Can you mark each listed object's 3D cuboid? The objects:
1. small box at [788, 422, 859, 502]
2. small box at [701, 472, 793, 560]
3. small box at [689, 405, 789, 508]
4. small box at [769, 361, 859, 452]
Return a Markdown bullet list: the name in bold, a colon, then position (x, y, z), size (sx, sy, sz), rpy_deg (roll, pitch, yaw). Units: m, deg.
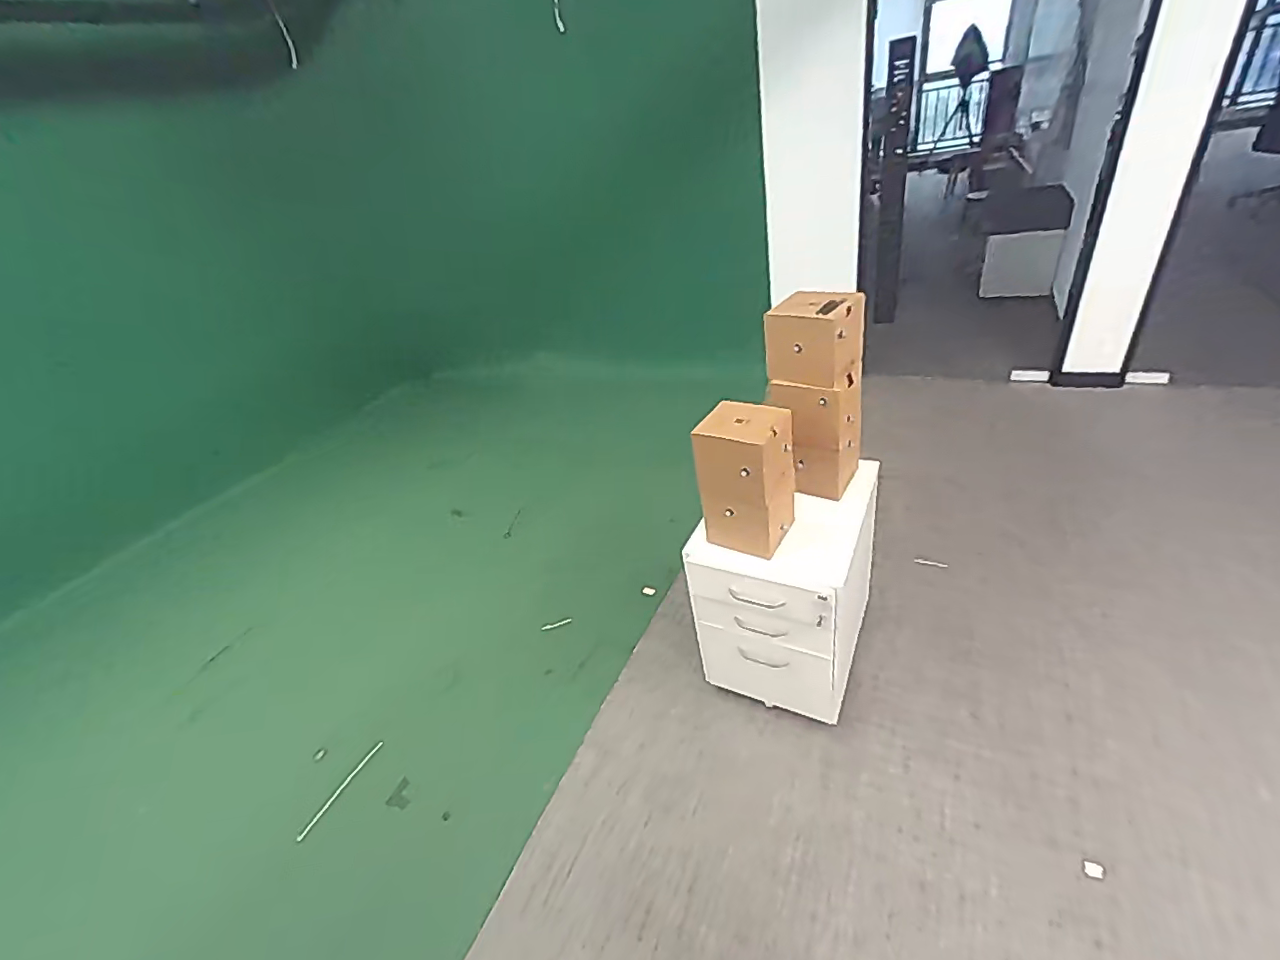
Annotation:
- **small box**: position (0.484, -0.060, 1.482), size (0.179, 0.176, 0.168), rpy_deg (14, 42, 34)
- **small box**: position (0.271, 0.075, 1.353), size (0.179, 0.176, 0.168), rpy_deg (14, 42, 32)
- **small box**: position (0.238, -0.055, 1.262), size (0.179, 0.176, 0.168), rpy_deg (12, 39, 33)
- **small box**: position (0.448, -0.190, 1.392), size (0.179, 0.176, 0.168), rpy_deg (14, 42, 33)
